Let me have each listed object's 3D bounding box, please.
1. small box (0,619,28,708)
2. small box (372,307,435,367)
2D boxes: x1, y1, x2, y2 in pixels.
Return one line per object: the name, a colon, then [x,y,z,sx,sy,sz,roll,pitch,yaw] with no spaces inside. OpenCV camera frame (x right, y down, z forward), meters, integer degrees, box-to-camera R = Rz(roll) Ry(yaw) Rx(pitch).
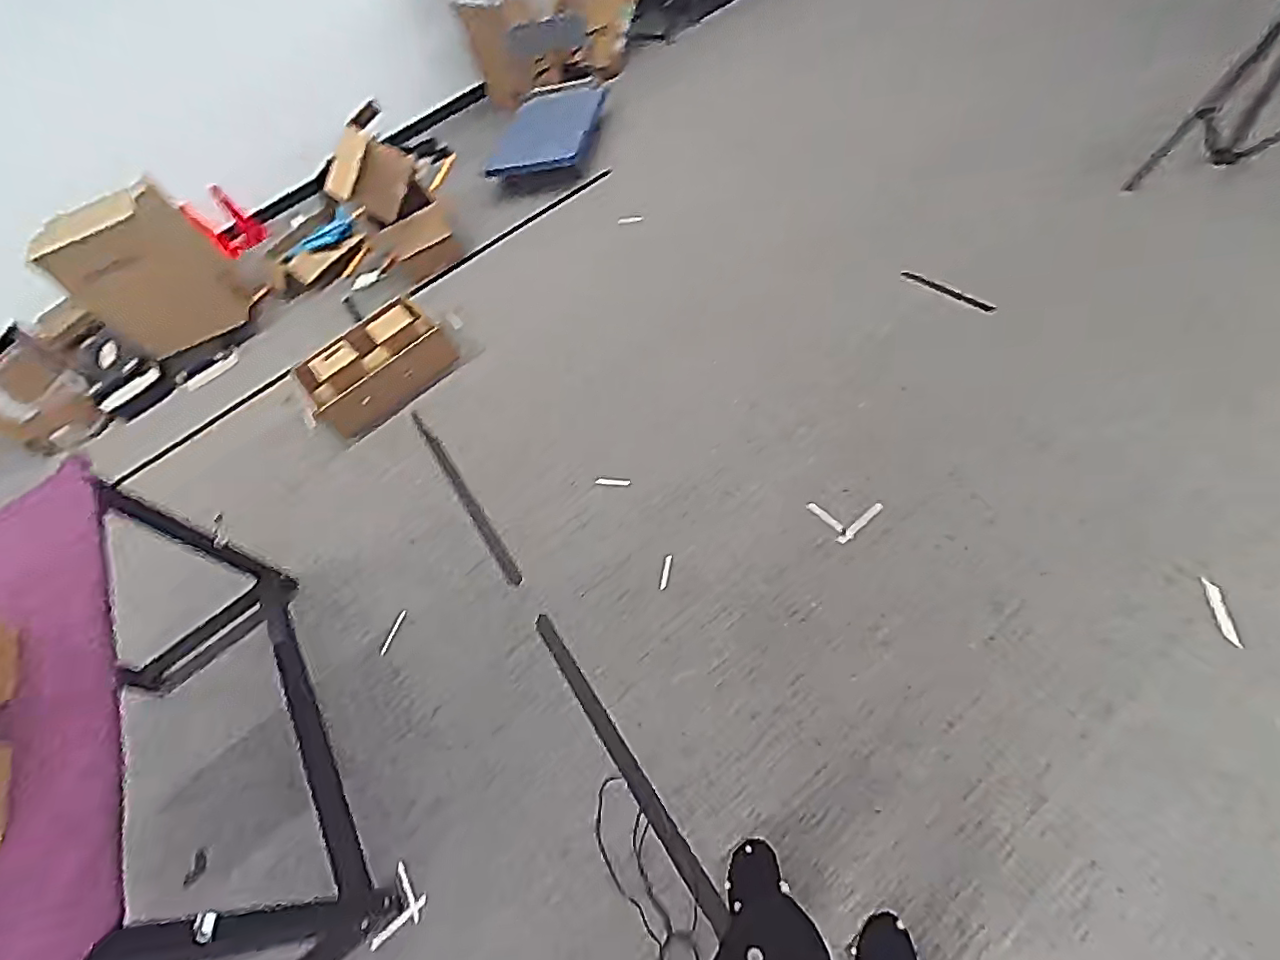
small box: [-1.285,0.349,0.981,0.168,0.176,0.179,-37,55,-9]
small box: [-1.049,-0.632,2.413,0.168,0.176,0.179,-40,54,-12]
